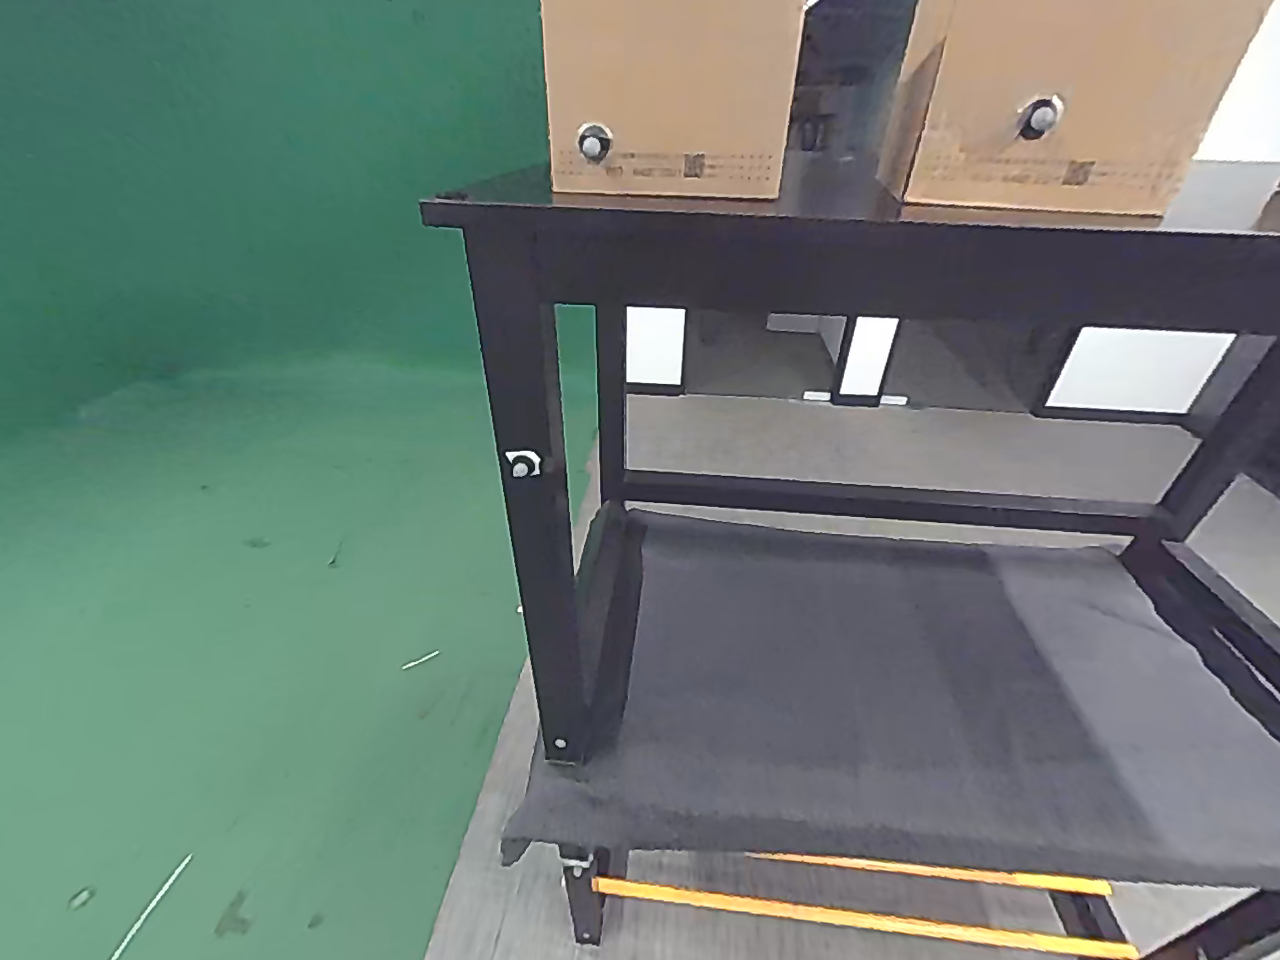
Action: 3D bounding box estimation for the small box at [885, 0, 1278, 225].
[{"bbox_3d":[0.295,-0.300,0.400,0.168,0.176,0.179,9,36,11],"label":"small box"}]

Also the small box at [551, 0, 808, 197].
[{"bbox_3d":[0.032,-0.321,0.418,0.168,0.176,0.179,4,33,4],"label":"small box"}]
